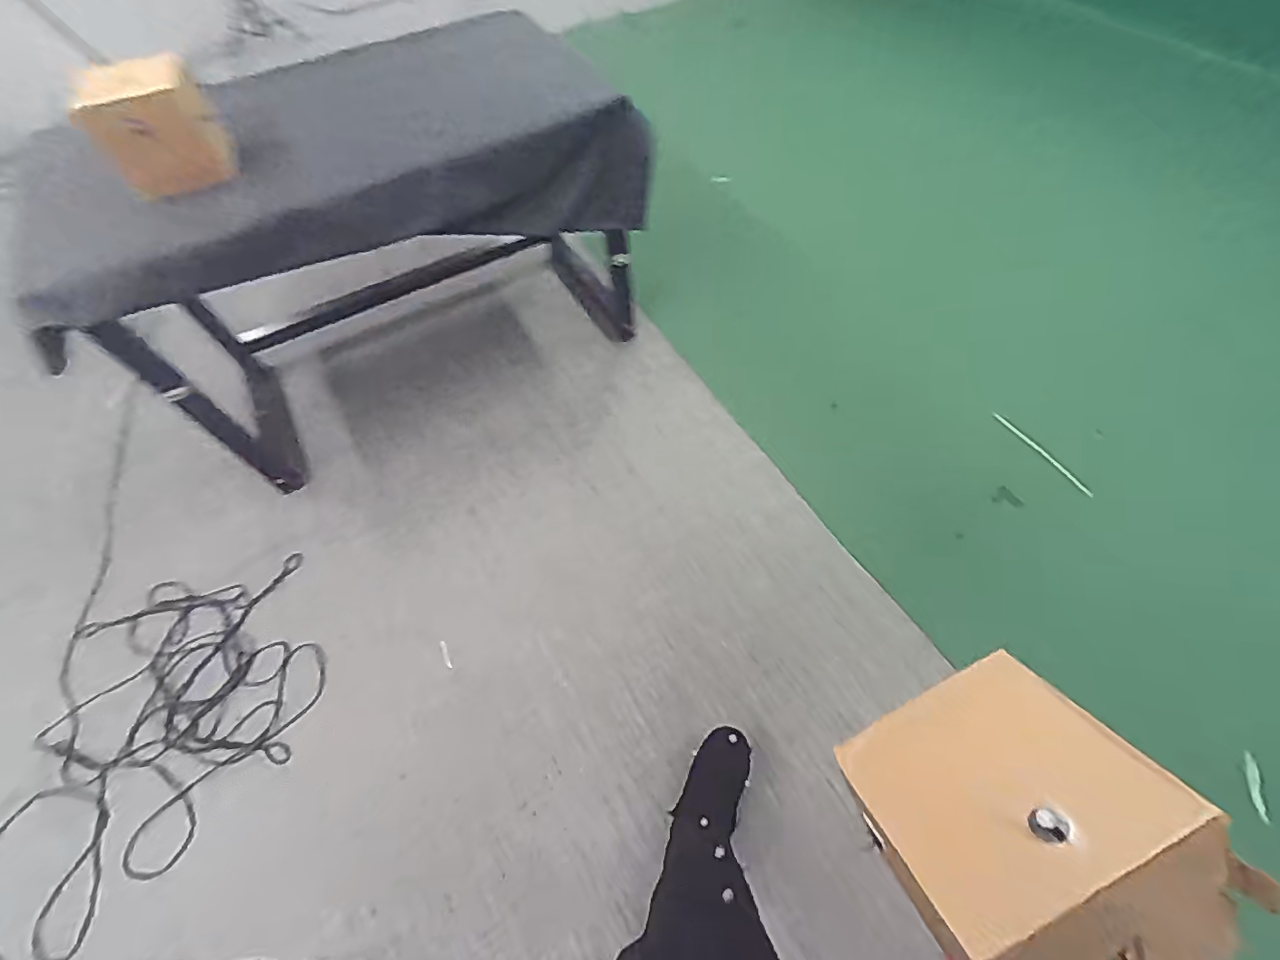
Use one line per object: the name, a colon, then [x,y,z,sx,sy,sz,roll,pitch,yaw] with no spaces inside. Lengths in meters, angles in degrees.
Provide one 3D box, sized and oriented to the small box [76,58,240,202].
small box: [-0.918,-0.677,1.052,0.179,0.176,0.168,-20,59,-10]
